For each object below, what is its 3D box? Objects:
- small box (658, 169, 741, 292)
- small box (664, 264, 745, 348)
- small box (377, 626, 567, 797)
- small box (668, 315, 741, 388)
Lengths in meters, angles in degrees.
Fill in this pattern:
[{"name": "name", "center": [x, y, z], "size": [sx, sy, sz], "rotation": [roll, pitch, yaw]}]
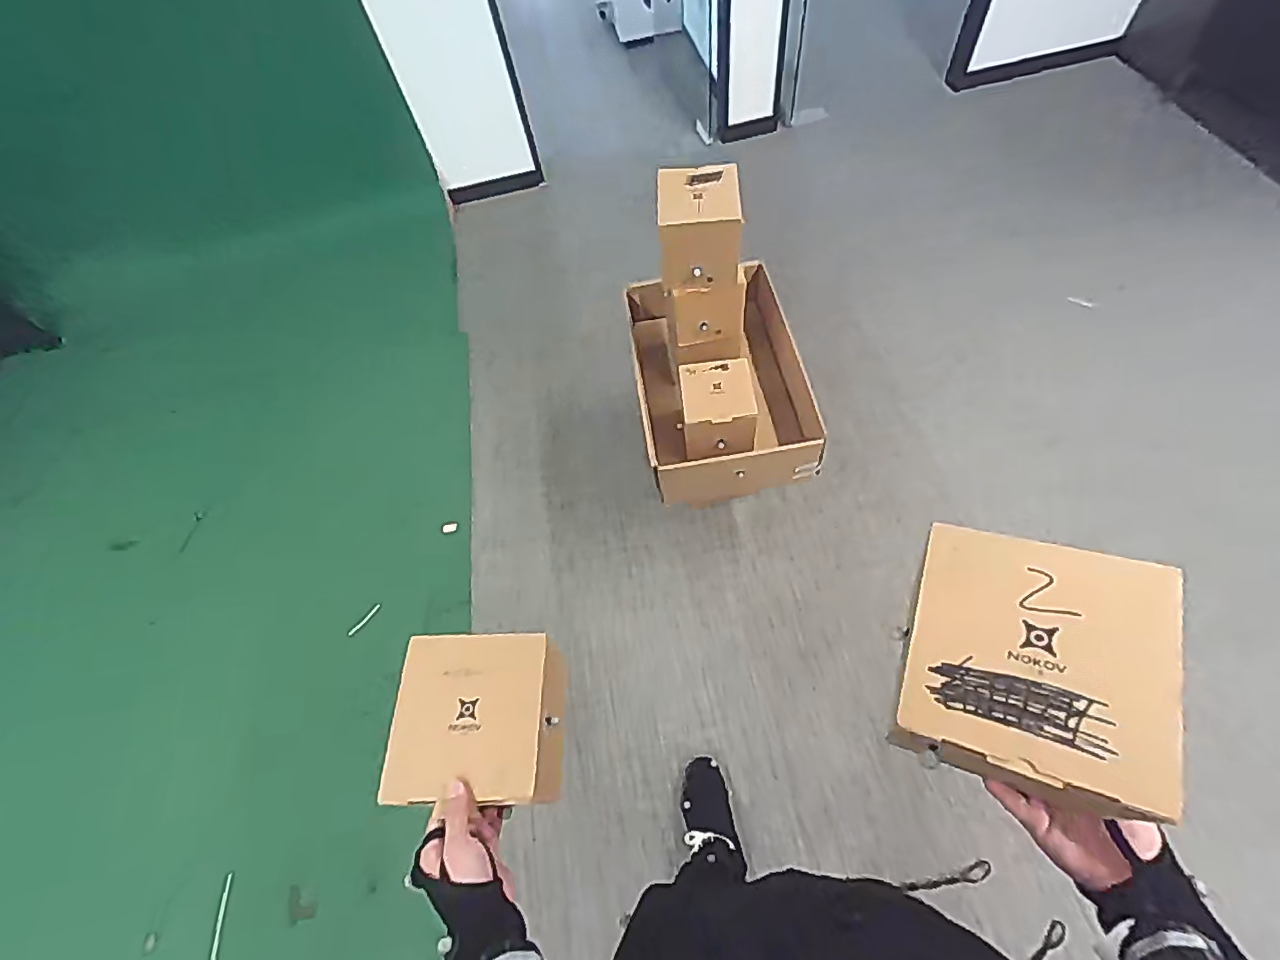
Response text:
[{"name": "small box", "center": [0.125, -0.532, 1.163], "size": [0.168, 0.176, 0.179], "rotation": [-2, 62, 6]}, {"name": "small box", "center": [0.149, -0.449, 1.303], "size": [0.168, 0.176, 0.179], "rotation": [-11, 61, 1]}, {"name": "small box", "center": [-0.189, 0.290, 0.669], "size": [0.168, 0.176, 0.179], "rotation": [-1, 59, 2]}, {"name": "small box", "center": [0.168, -0.373, 1.445], "size": [0.168, 0.176, 0.179], "rotation": [-10, 61, 2]}]
